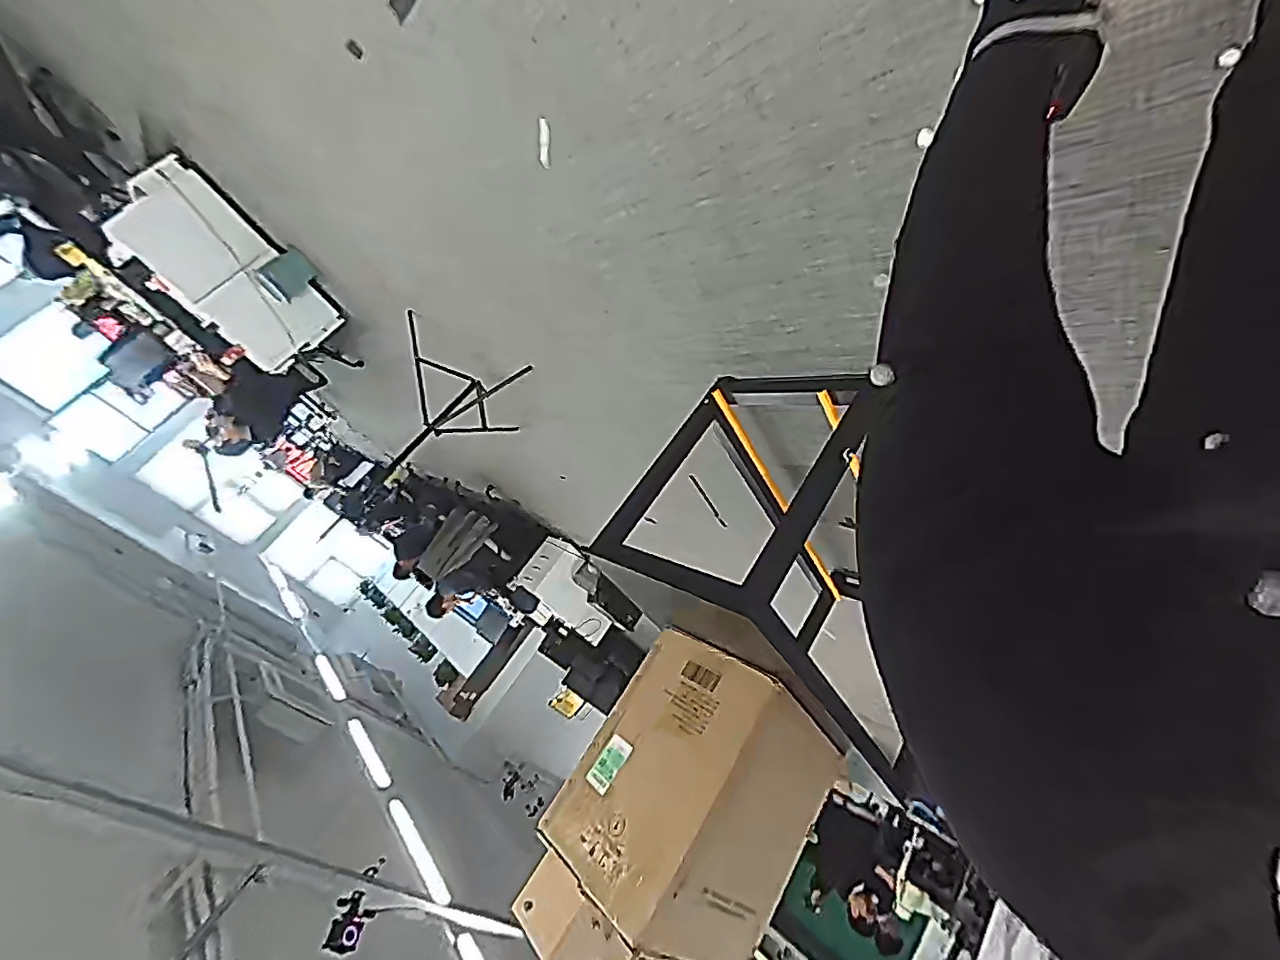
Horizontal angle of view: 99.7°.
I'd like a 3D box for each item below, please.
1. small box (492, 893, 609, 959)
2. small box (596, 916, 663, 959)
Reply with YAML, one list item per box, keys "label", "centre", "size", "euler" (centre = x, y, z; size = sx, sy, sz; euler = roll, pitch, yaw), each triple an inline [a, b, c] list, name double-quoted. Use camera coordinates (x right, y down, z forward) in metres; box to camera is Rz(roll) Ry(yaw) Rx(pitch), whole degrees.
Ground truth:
- label: "small box"
  centre: [-0.206, 1.111, 1.266]
  size: [0.179, 0.176, 0.168]
  euler: [12, 150, 51]
- label: "small box"
  centre: [-0.049, 1.298, 1.416]
  size: [0.168, 0.176, 0.179]
  euler: [13, 147, 49]
